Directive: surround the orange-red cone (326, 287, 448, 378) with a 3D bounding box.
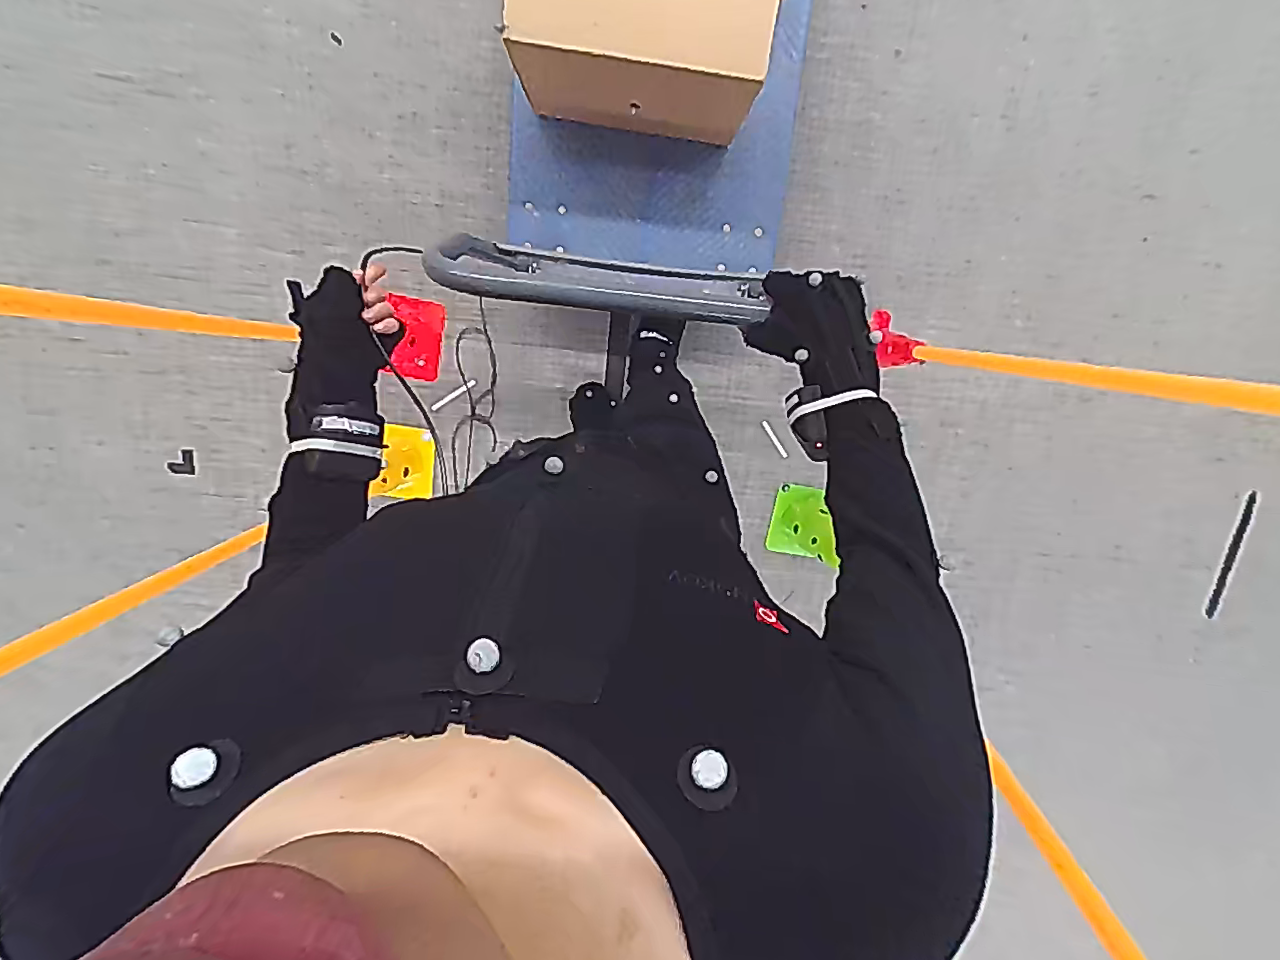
[{"bbox_3d":[-0.589,-0.329,1.200,0.198,0.360,0.199,12,103,-5],"label":"orange-red cone"}]

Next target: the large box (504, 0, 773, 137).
[{"bbox_3d":[0.008,-0.825,0.927,0.408,0.320,0.320,7,106,-2],"label":"large box"}]

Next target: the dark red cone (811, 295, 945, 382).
[{"bbox_3d":[0.545,-0.313,1.204,0.201,0.394,0.202,4,105,-4],"label":"dark red cone"}]

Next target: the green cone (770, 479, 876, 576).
[{"bbox_3d":[0.480,0.147,1.344,0.202,0.368,0.200,8,105,-4],"label":"green cone"}]
